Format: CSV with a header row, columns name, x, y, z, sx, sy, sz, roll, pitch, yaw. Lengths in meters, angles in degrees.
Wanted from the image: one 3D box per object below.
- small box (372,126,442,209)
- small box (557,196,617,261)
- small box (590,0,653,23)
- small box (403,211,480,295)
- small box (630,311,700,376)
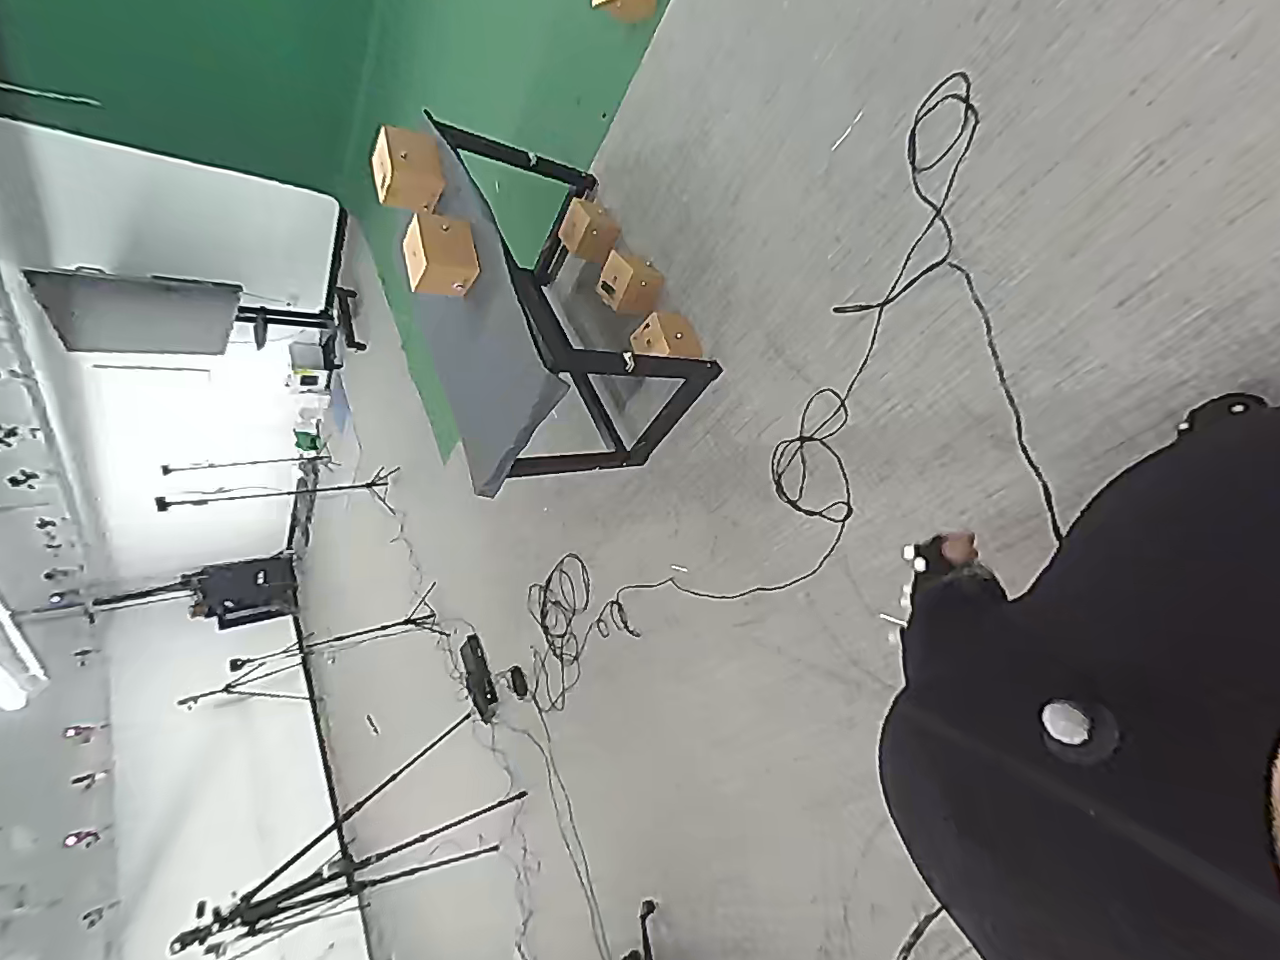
name,x,y,z,sx,sy,sz,roll,pitch,yaw
small box,-0.785,-1.043,1.825,0.168,0.176,0.179,-22,80,50
small box,-0.218,-1.060,2.291,0.168,0.176,0.179,58,133,26
small box,-0.059,-1.845,2.009,0.179,0.176,0.168,27,114,42
small box,-0.623,-0.704,1.698,0.168,0.176,0.179,-24,79,51
small box,0.097,-0.505,2.016,0.168,0.176,0.179,-33,72,45
